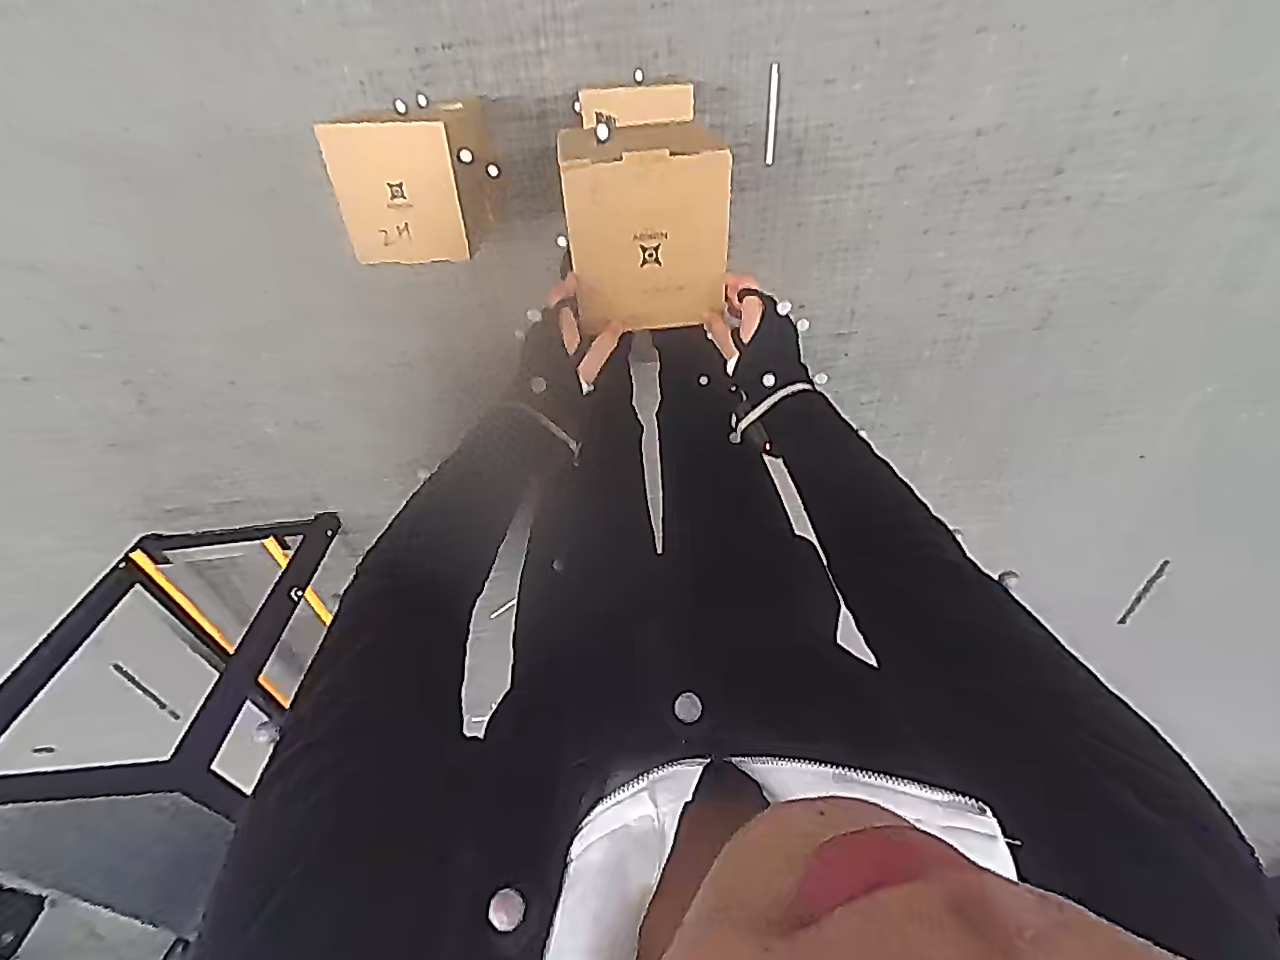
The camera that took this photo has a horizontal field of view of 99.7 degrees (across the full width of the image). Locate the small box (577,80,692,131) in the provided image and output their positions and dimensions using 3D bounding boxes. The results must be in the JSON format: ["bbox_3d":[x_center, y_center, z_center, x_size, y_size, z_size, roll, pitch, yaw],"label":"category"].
[{"bbox_3d":[-0.010,-0.571,0.919,0.179,0.176,0.168,-4,130,-2],"label":"small box"}]

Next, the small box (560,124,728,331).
[{"bbox_3d":[0.000,-0.298,0.628,0.168,0.176,0.179,-7,133,-2],"label":"small box"}]

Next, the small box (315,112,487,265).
[{"bbox_3d":[-0.333,-0.432,0.796,0.168,0.176,0.179,-2,130,-2],"label":"small box"}]

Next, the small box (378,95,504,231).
[{"bbox_3d":[-0.343,-0.535,0.925,0.168,0.176,0.179,-6,131,2],"label":"small box"}]
